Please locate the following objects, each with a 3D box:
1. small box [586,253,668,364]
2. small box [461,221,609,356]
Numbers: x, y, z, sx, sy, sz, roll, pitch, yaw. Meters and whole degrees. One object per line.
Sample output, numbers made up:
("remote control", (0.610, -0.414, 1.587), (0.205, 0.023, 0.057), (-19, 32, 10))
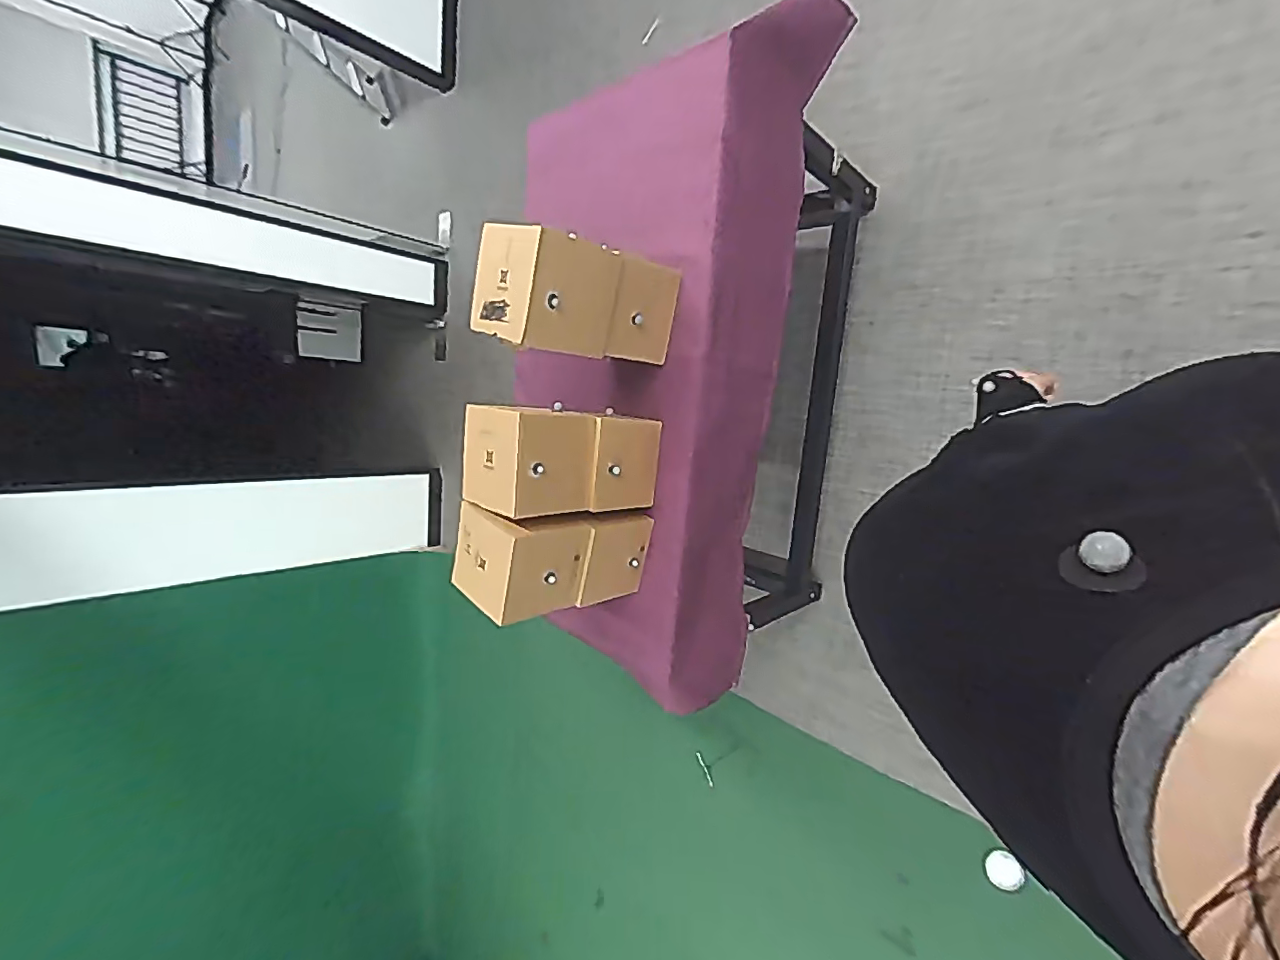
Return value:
("small box", (-0.066, -0.324, 1.028), (0.168, 0.176, 0.179), (22, 108, 39))
("small box", (-0.174, -0.313, 0.904), (0.168, 0.176, 0.179), (25, 108, 39))
